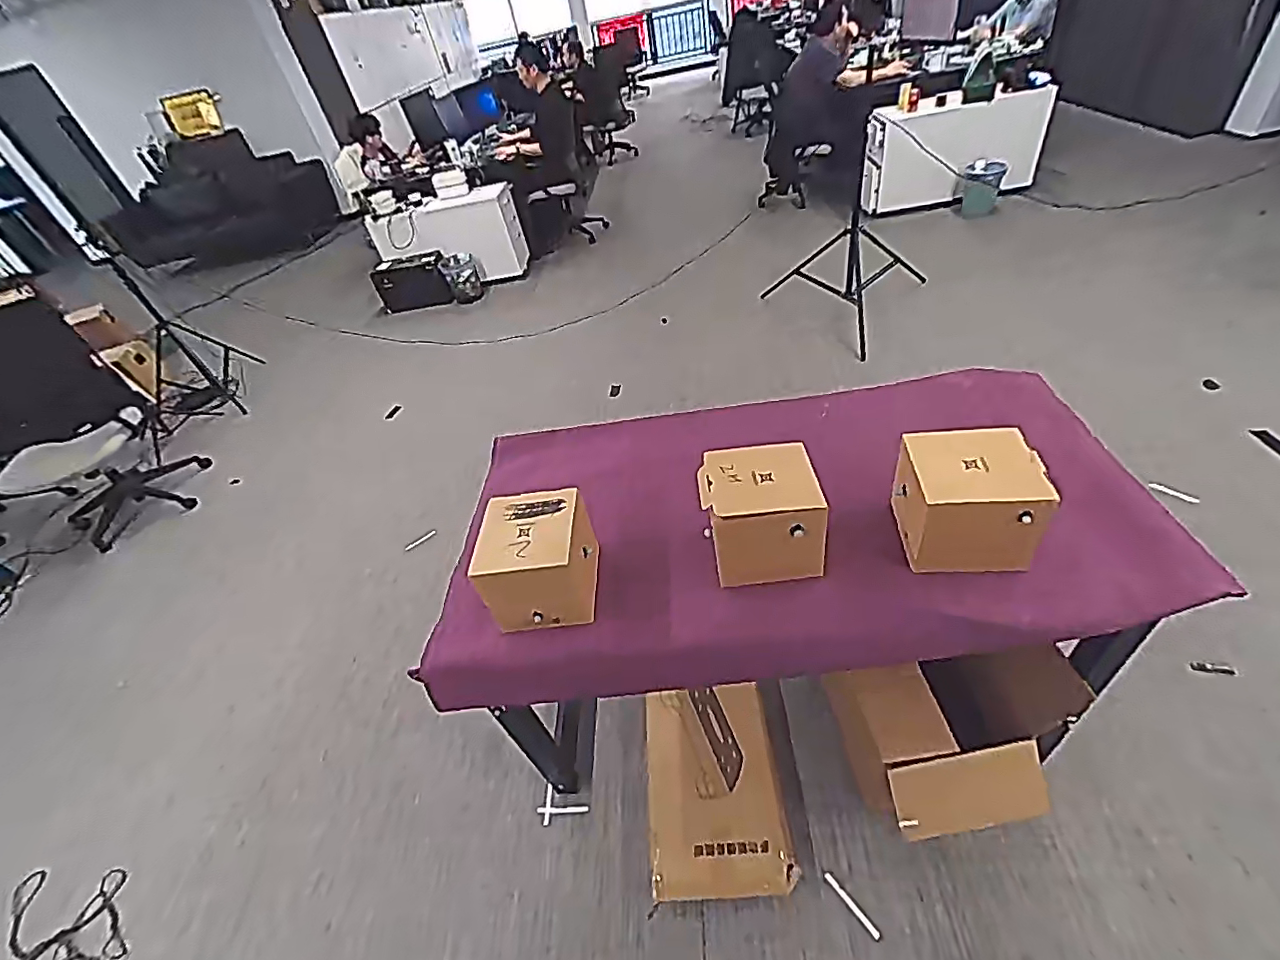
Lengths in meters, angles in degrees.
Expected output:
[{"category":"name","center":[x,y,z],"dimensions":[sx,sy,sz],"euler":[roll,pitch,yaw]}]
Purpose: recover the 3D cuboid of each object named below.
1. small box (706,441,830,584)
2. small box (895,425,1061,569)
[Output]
[{"category":"small box","center":[0.212,0.058,0.929],"dimensions":[0.179,0.176,0.168],"euler":[-8,40,6]},{"category":"small box","center":[0.526,0.031,0.877],"dimensions":[0.179,0.176,0.168],"euler":[-3,43,11]}]
